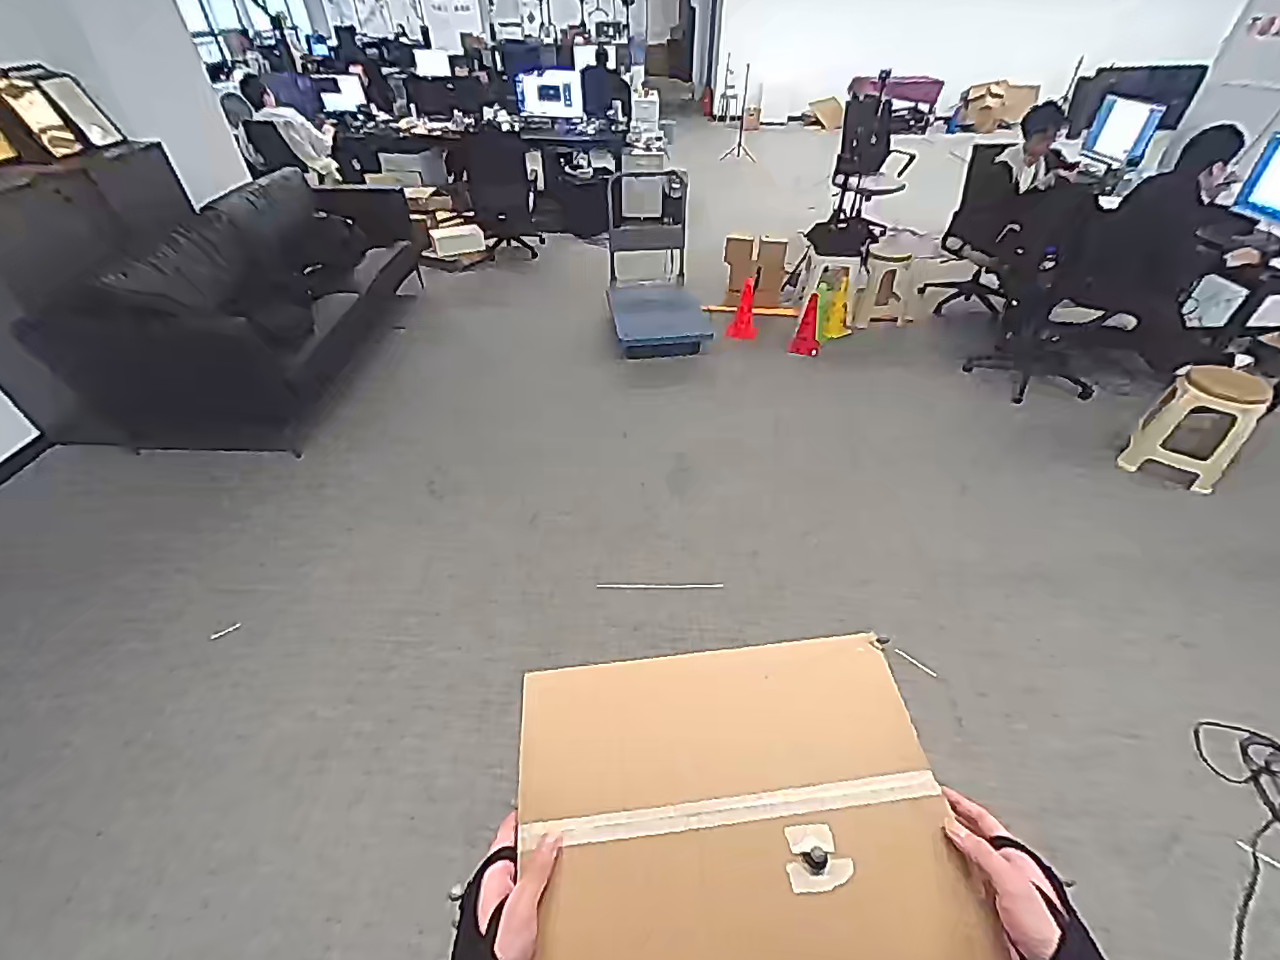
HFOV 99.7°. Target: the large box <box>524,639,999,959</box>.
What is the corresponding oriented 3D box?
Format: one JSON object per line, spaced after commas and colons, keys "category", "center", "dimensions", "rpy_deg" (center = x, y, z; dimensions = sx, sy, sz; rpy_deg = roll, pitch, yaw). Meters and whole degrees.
{"category": "large box", "center": [0.090, 0.422, 0.639], "dimensions": [0.408, 0.320, 0.320], "rpy_deg": [-6, 50, -3]}
